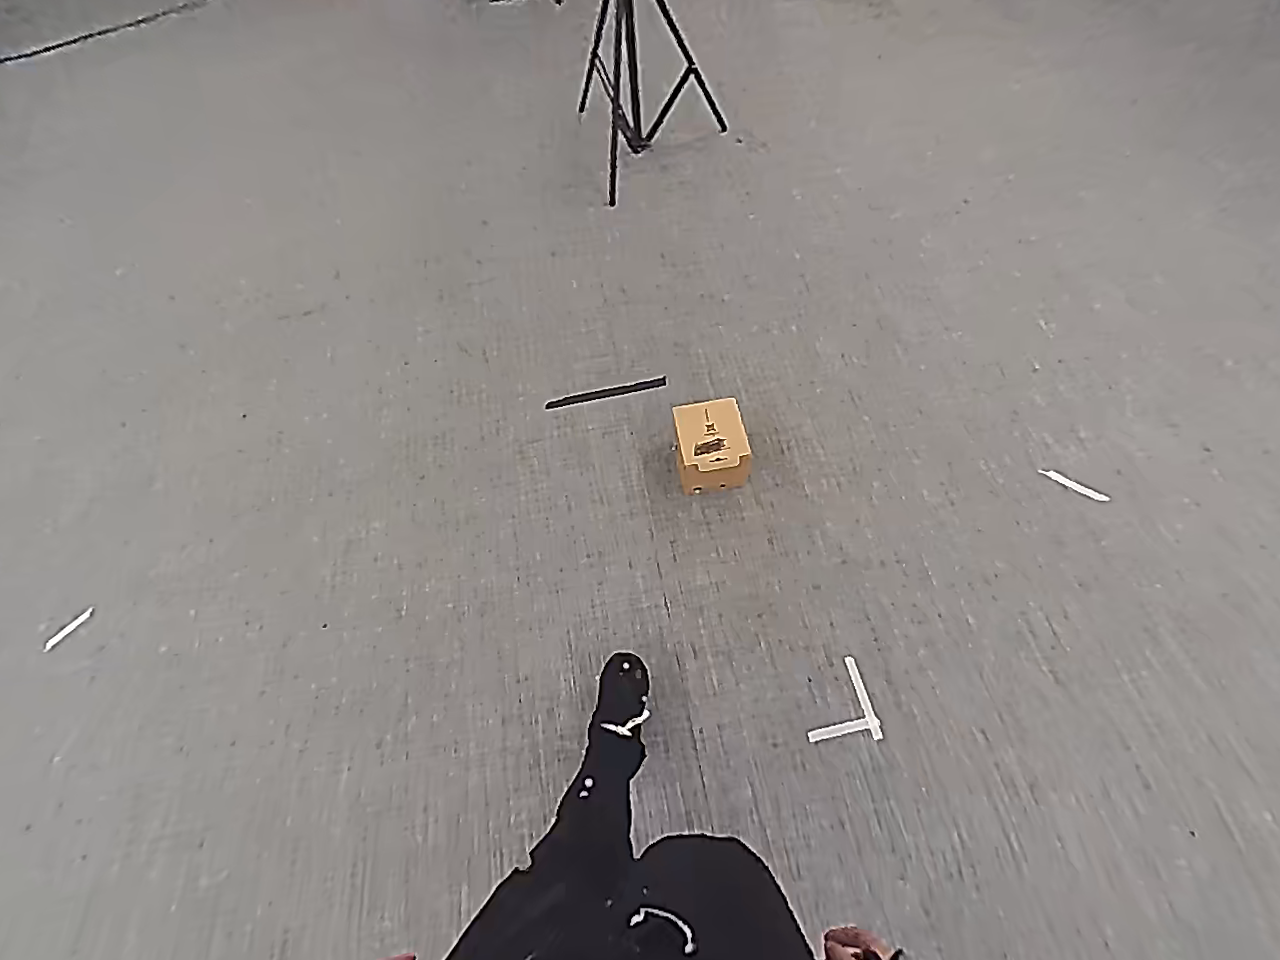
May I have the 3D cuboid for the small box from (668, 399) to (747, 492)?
[{"bbox_3d":[0.170,-0.080,1.398,0.168,0.176,0.179,-10,63,-1],"label":"small box"}]
